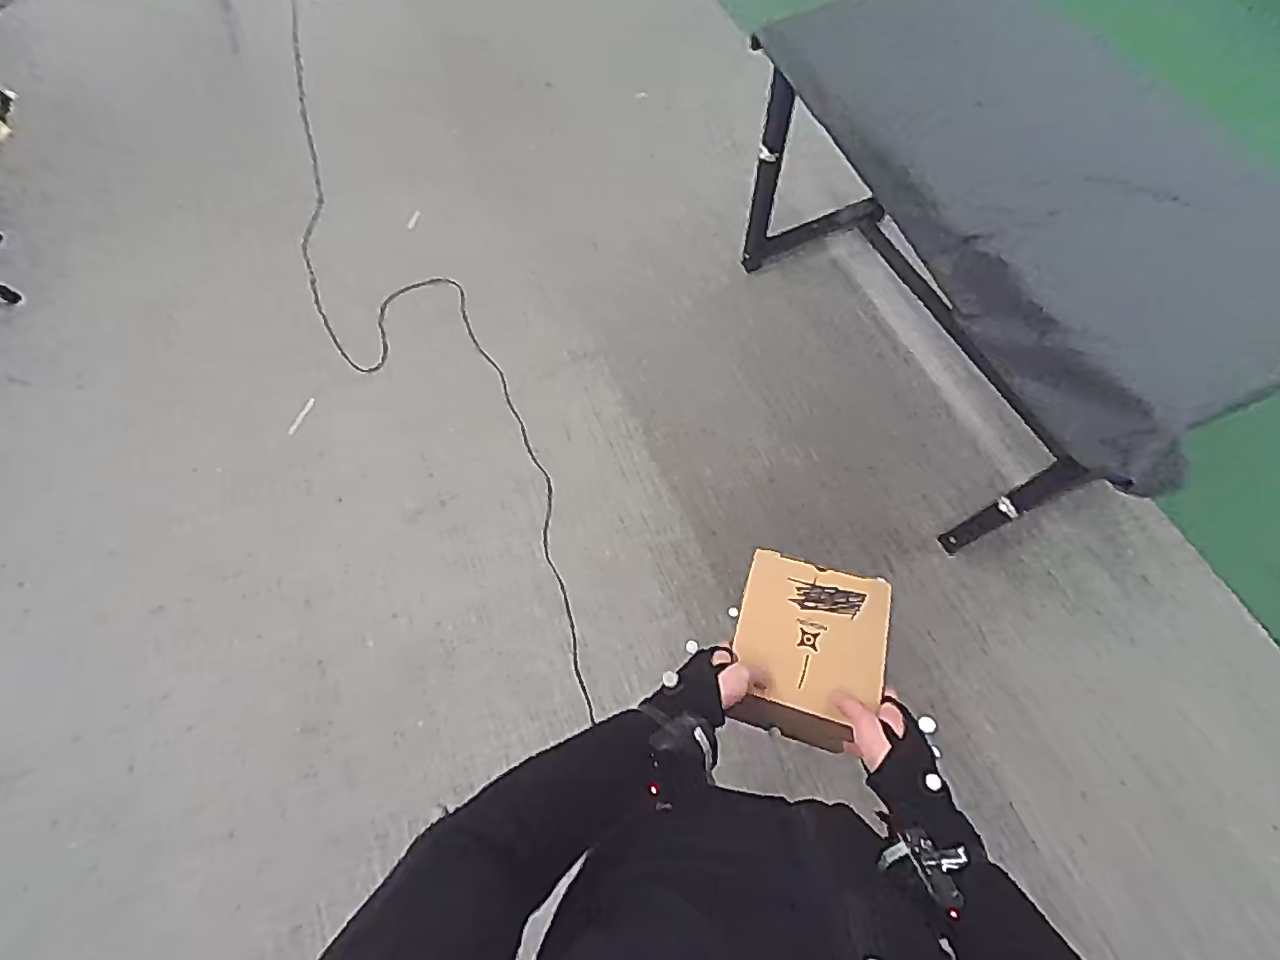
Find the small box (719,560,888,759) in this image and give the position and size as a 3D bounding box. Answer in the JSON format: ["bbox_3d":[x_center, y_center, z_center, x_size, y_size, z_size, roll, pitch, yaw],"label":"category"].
[{"bbox_3d":[0.200,0.232,0.690,0.168,0.176,0.179,13,59,13],"label":"small box"}]
